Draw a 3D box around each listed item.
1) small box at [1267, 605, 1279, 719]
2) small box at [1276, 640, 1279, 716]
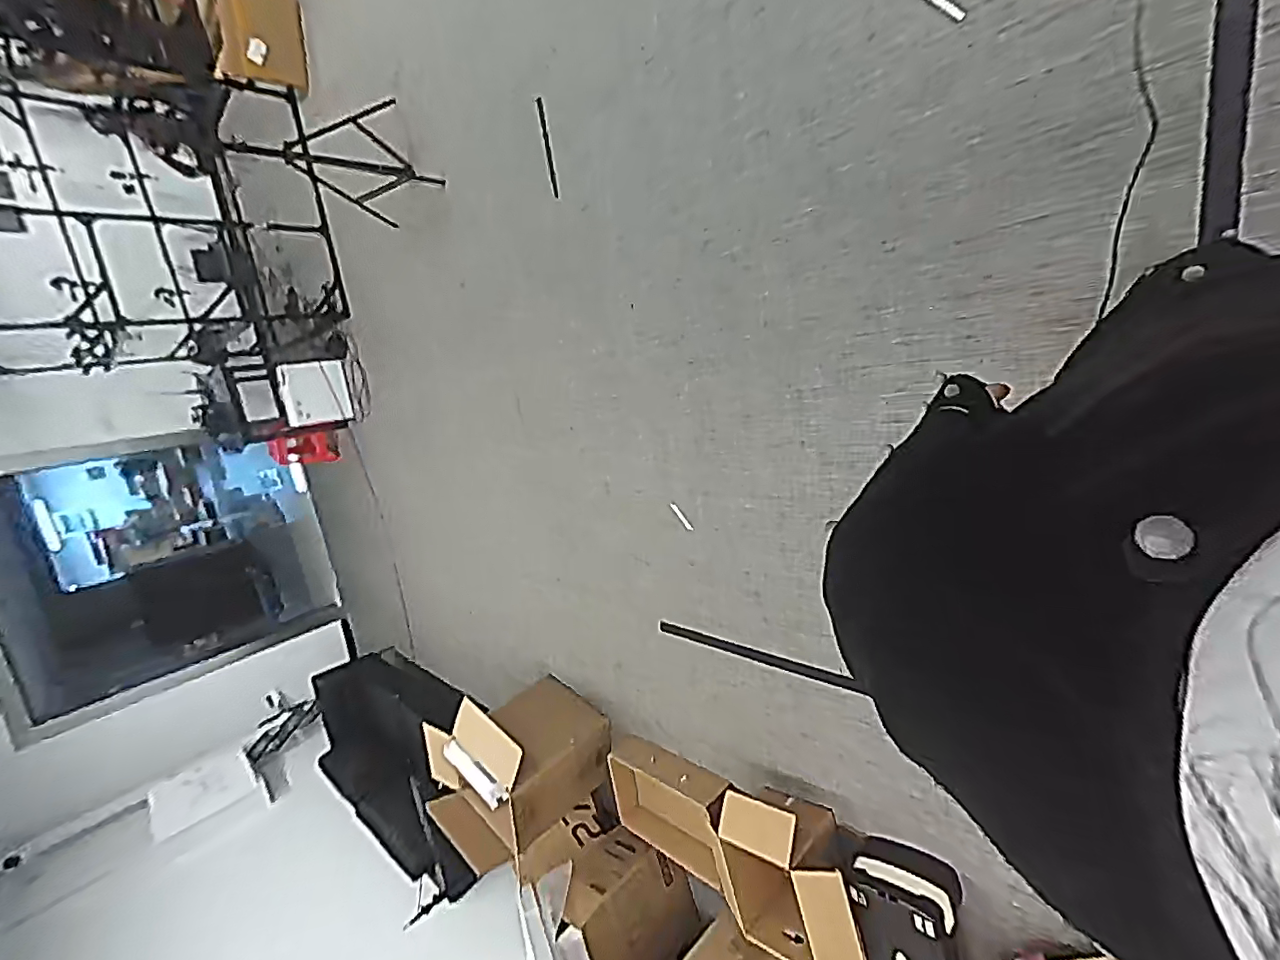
[{"bbox_3d":[1.254,0.334,0.955,0.179,0.176,0.168,1,105,46],"label":"small box"},{"bbox_3d":[1.138,0.371,0.848,0.168,0.176,0.179,-3,101,45],"label":"small box"}]
